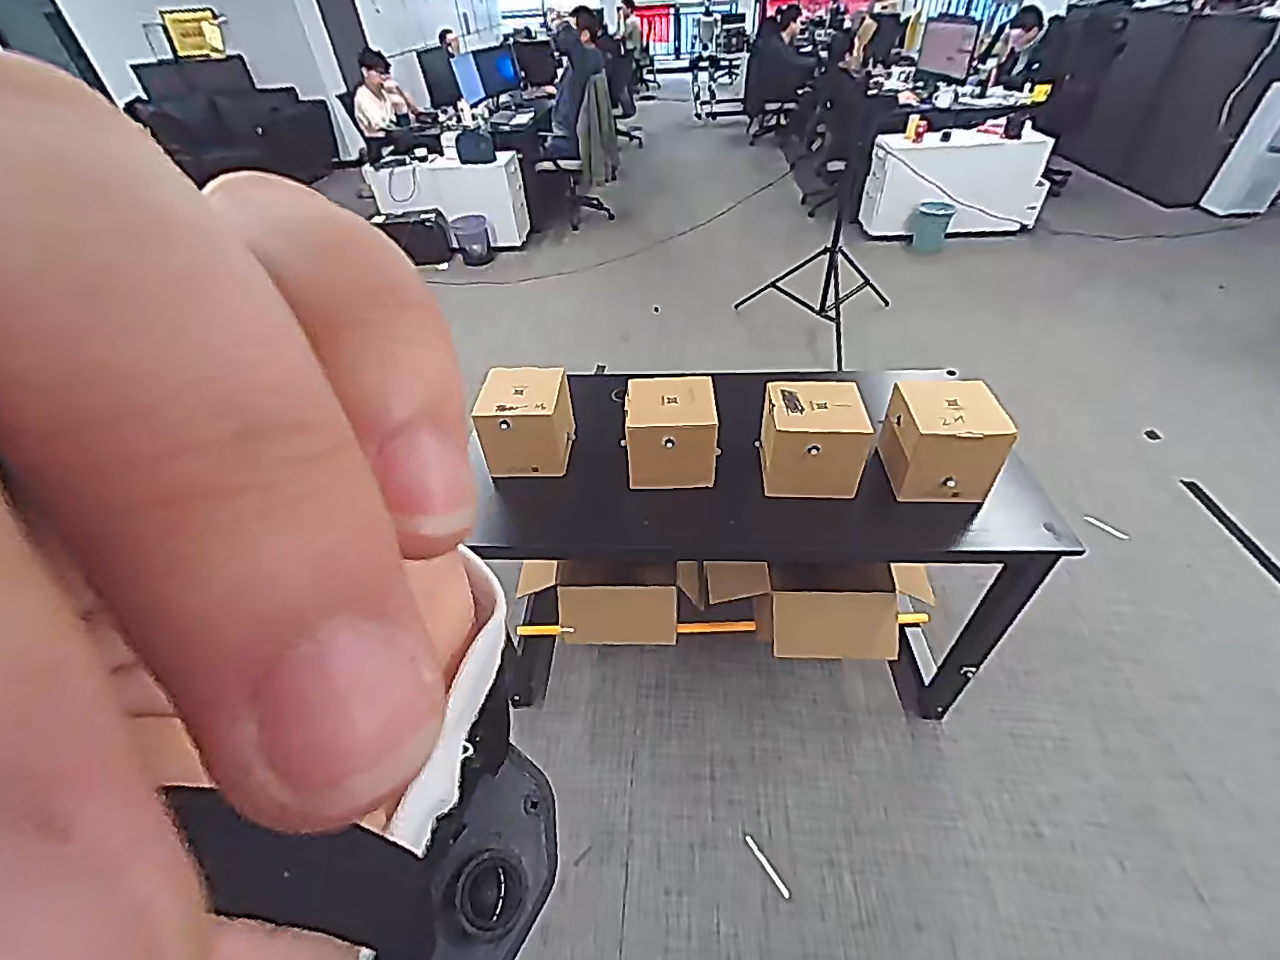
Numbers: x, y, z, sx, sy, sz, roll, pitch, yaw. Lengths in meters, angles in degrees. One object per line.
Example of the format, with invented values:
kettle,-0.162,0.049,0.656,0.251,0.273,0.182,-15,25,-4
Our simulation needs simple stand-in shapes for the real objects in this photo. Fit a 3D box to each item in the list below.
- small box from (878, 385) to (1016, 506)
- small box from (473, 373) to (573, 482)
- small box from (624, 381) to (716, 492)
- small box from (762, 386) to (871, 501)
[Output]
small box,0.583,-0.069,1.056,0.168,0.176,0.179,0,42,7
small box,-0.243,-0.116,1.174,0.168,0.176,0.179,0,42,3
small box,0.062,-0.088,1.123,0.179,0.176,0.168,-1,43,2
small box,0.339,-0.072,1.079,0.179,0.176,0.168,2,42,6
